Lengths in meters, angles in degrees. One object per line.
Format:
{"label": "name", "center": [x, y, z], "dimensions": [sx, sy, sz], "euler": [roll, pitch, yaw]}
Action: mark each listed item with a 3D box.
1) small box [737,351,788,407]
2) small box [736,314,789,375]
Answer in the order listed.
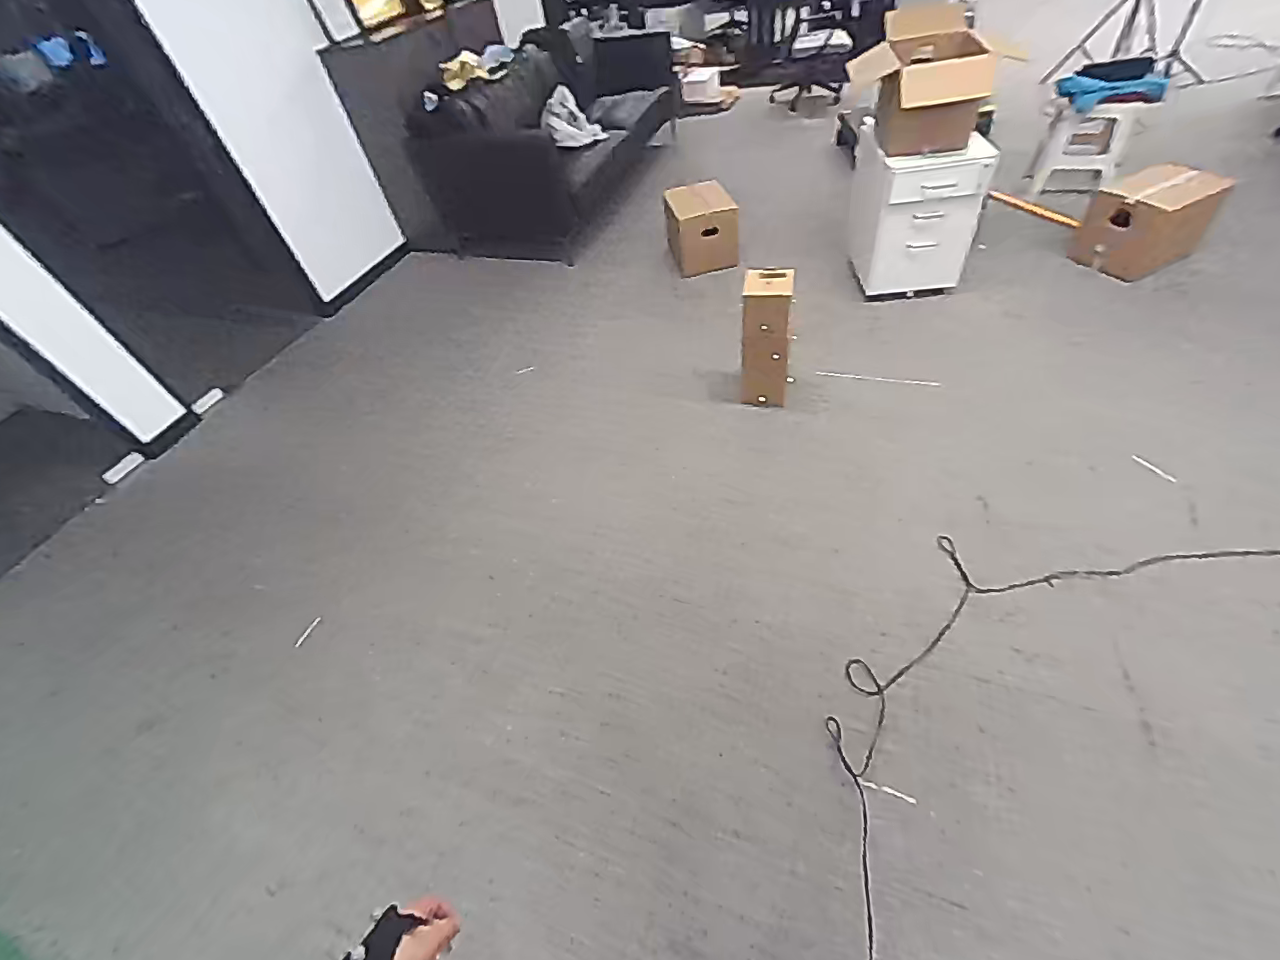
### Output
{"label": "small box", "center": [0.494, -0.416, 2.190], "dimensions": [0.179, 0.176, 0.168], "euler": [9, 51, 18]}
{"label": "small box", "center": [0.468, -0.515, 2.063], "dimensions": [0.179, 0.176, 0.168], "euler": [5, 49, 18]}
